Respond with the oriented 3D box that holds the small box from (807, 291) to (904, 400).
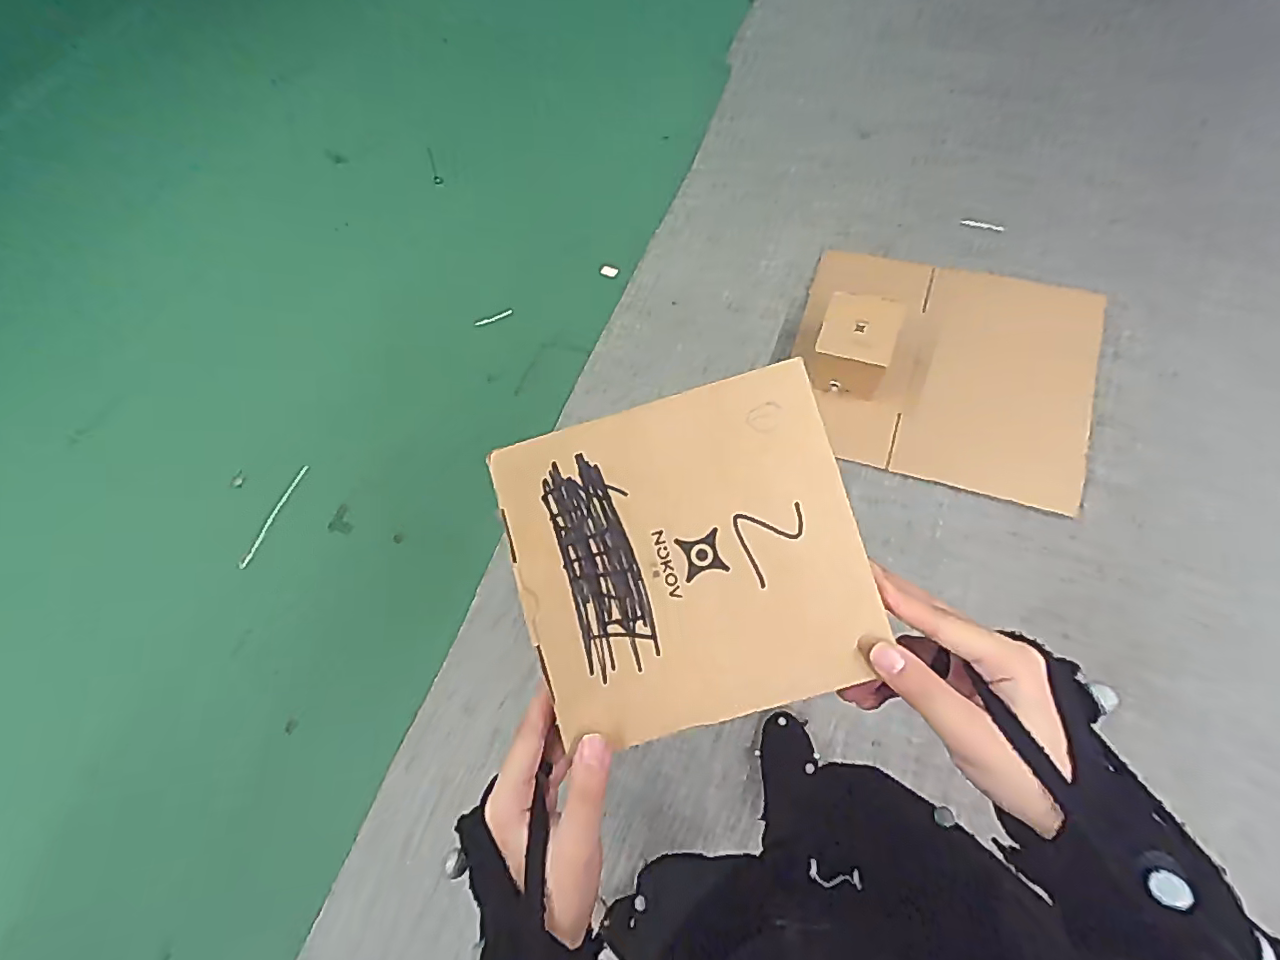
[{"bbox_3d":[0.512,-0.321,1.307,0.168,0.176,0.179,17,75,16],"label":"small box"}]
